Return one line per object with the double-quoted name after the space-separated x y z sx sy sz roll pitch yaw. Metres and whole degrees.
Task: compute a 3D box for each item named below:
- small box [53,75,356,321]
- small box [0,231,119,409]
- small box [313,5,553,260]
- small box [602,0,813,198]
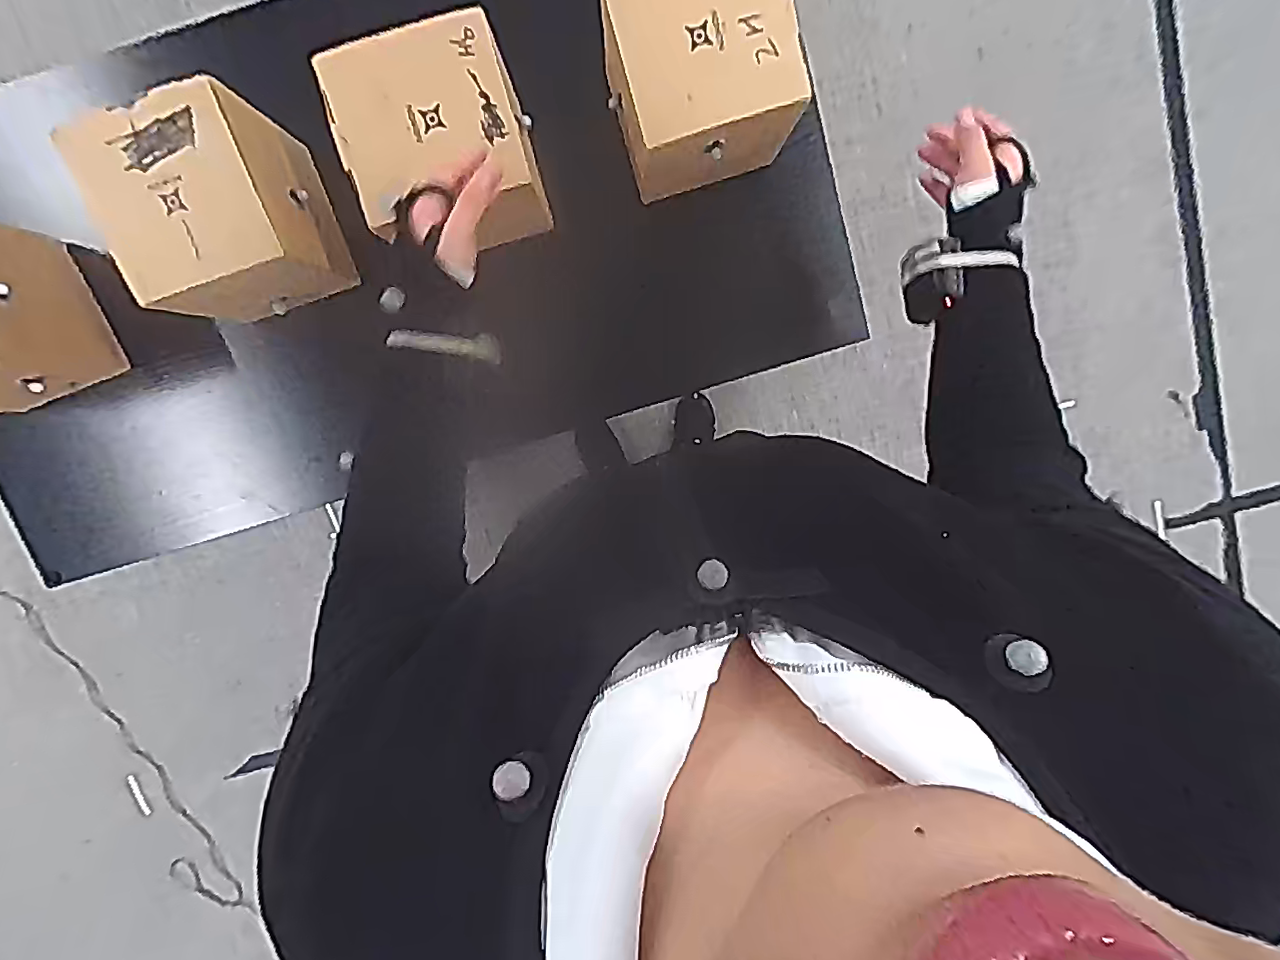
-0.463 -0.295 0.609 0.168 0.176 0.179 -18 101 2 "small box"
-0.776 -0.183 0.620 0.168 0.176 0.179 -21 99 1 "small box"
-0.212 -0.364 0.605 0.179 0.176 0.168 -15 100 2 "small box"
0.065 -0.440 0.597 0.179 0.176 0.168 -16 100 2 "small box"
